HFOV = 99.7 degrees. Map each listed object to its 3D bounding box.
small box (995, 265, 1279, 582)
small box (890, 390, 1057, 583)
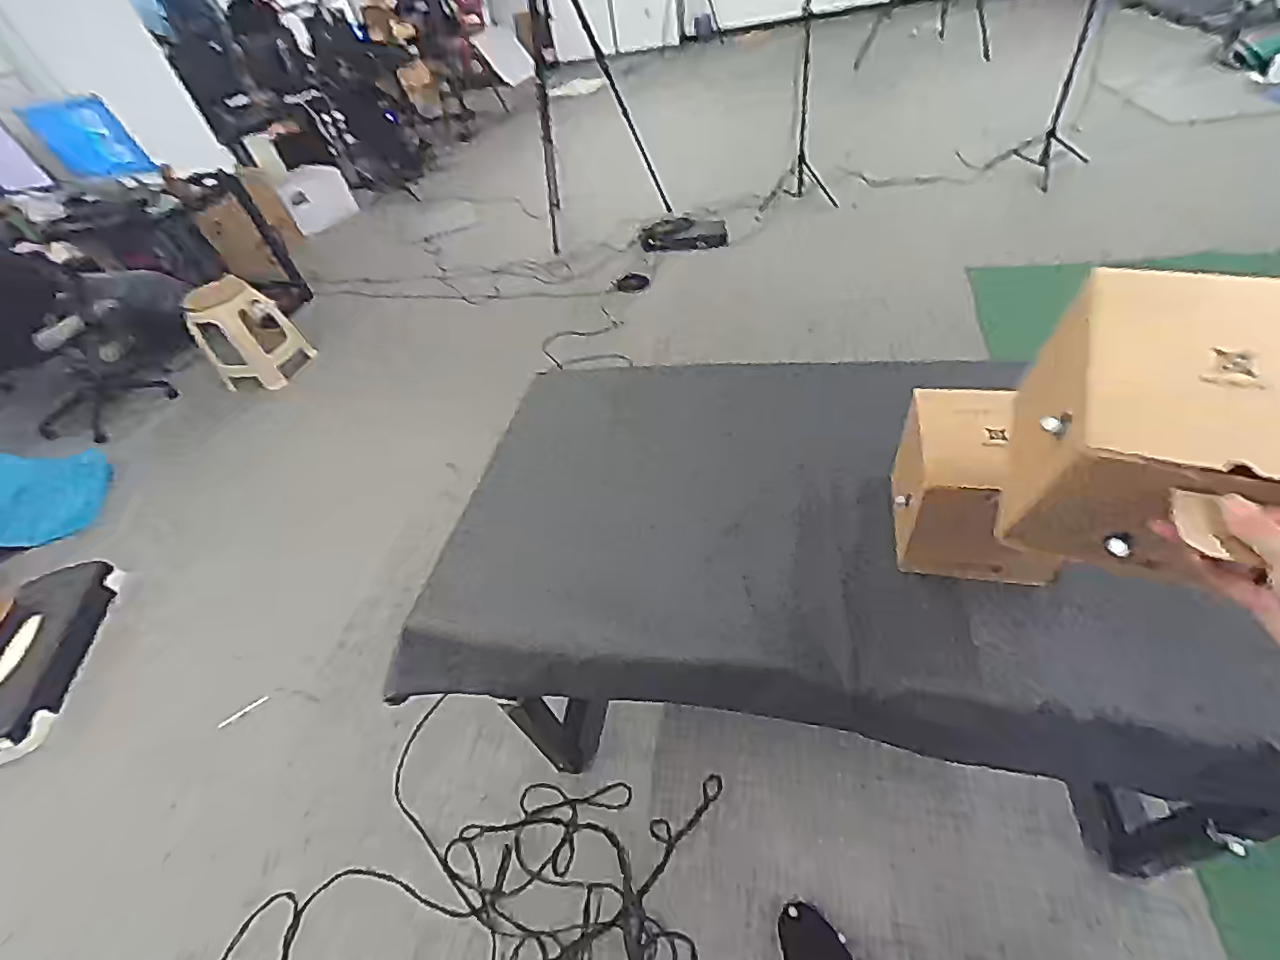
[{"bbox_3d":[0.413,-0.041,0.437,0.168,0.176,0.179,13,66,20],"label":"small box"},{"bbox_3d":[0.420,0.008,0.677,0.168,0.176,0.179,5,47,15],"label":"small box"}]
